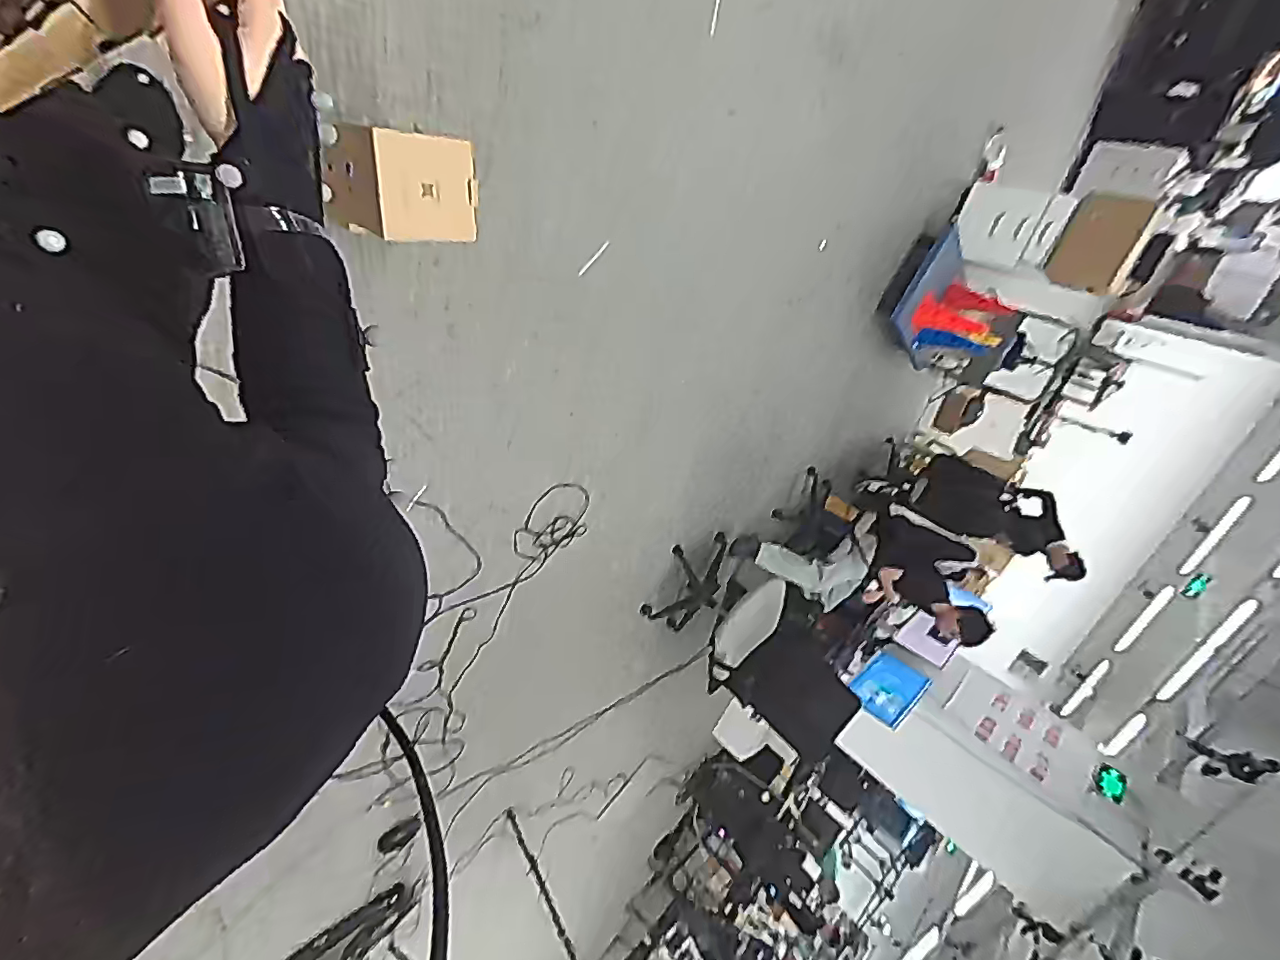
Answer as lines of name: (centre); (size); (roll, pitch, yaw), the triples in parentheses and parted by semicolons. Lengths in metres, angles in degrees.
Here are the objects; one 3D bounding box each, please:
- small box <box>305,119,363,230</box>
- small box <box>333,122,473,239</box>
small box: (-0.541, -0.604, 1.076); (0.168, 0.176, 0.179); (-21, 132, -39)
small box: (-0.424, -0.540, 0.981); (0.179, 0.176, 0.168); (-21, 131, -38)
